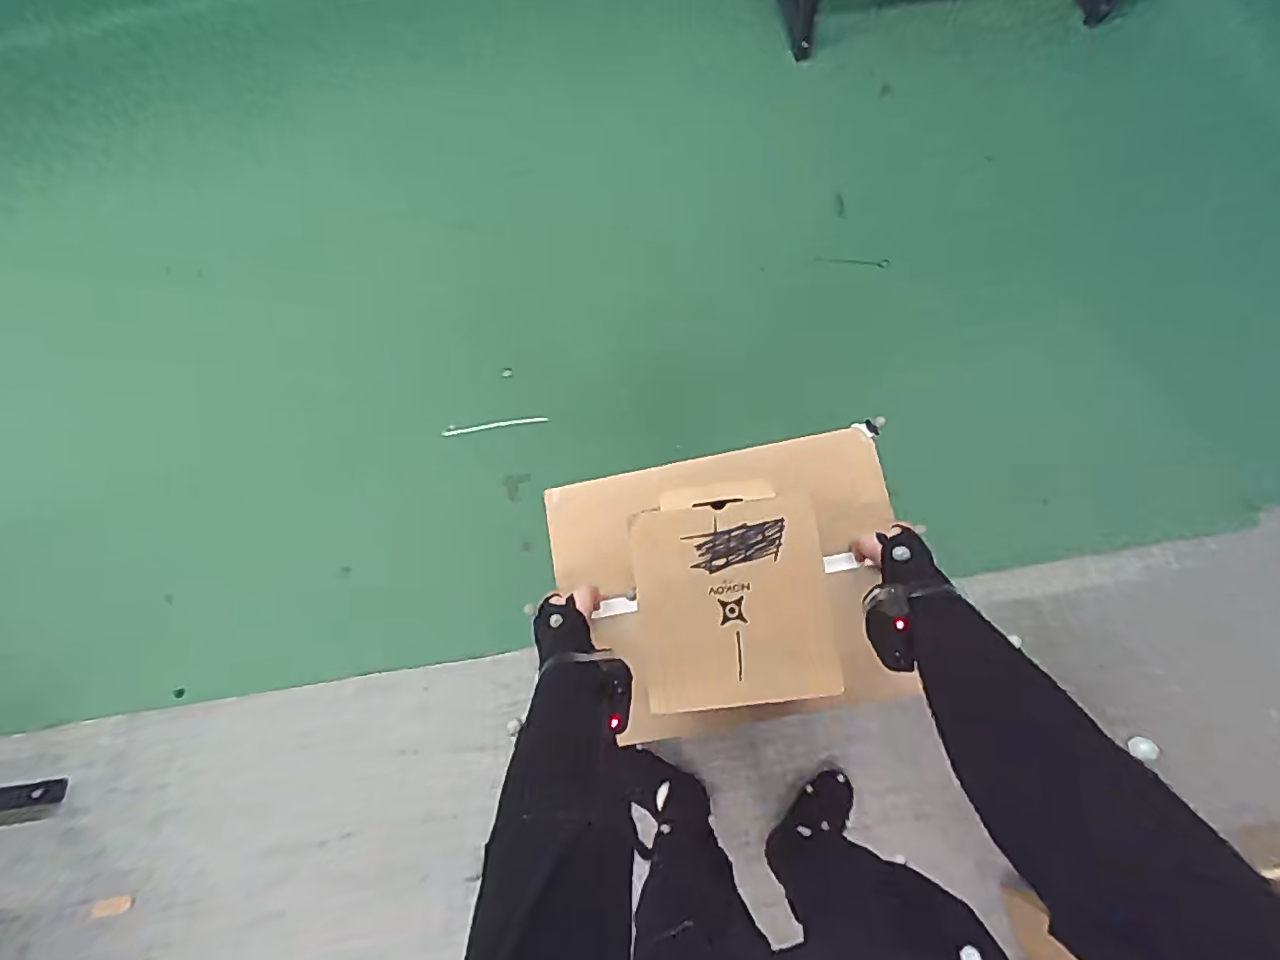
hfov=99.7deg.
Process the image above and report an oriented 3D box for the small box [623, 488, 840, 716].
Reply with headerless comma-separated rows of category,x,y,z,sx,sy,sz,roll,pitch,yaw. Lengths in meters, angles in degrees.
small box,0.078,0.112,0.534,0.168,0.176,0.179,-8,82,4
